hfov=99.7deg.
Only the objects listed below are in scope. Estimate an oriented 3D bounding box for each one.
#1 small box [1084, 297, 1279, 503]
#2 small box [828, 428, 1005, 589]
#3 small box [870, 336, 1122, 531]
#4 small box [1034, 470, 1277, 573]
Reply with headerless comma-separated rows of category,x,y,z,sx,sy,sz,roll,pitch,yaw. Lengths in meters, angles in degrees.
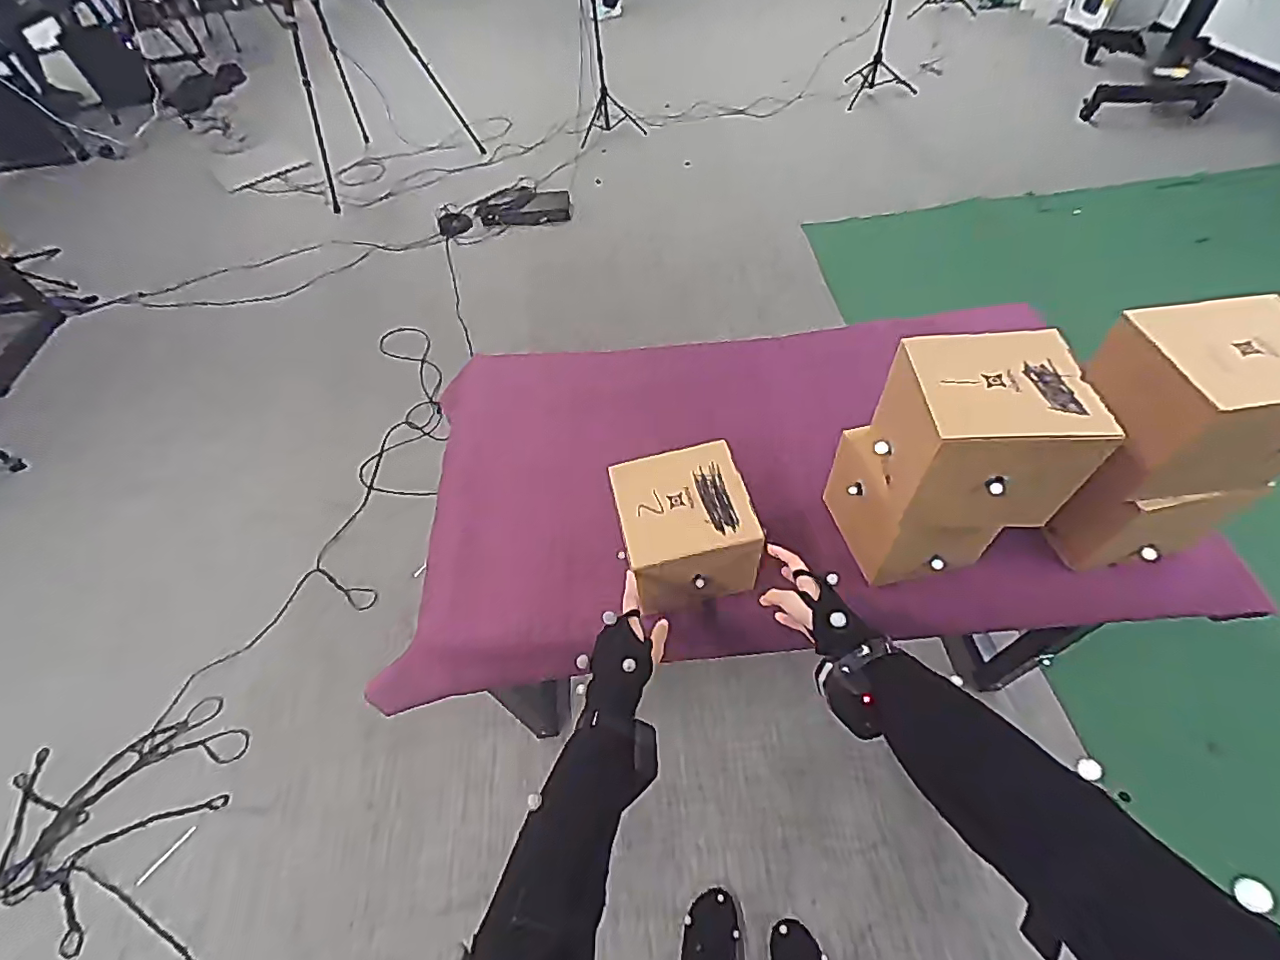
small box,0.664,-0.090,0.645,0.179,0.176,0.168,-6,53,3
small box,0.395,0.033,0.790,0.168,0.176,0.179,-12,52,-3
small box,0.398,-0.051,0.646,0.179,0.176,0.168,-1,52,7
small box,0.692,0.013,0.770,0.179,0.176,0.168,-10,52,-1
